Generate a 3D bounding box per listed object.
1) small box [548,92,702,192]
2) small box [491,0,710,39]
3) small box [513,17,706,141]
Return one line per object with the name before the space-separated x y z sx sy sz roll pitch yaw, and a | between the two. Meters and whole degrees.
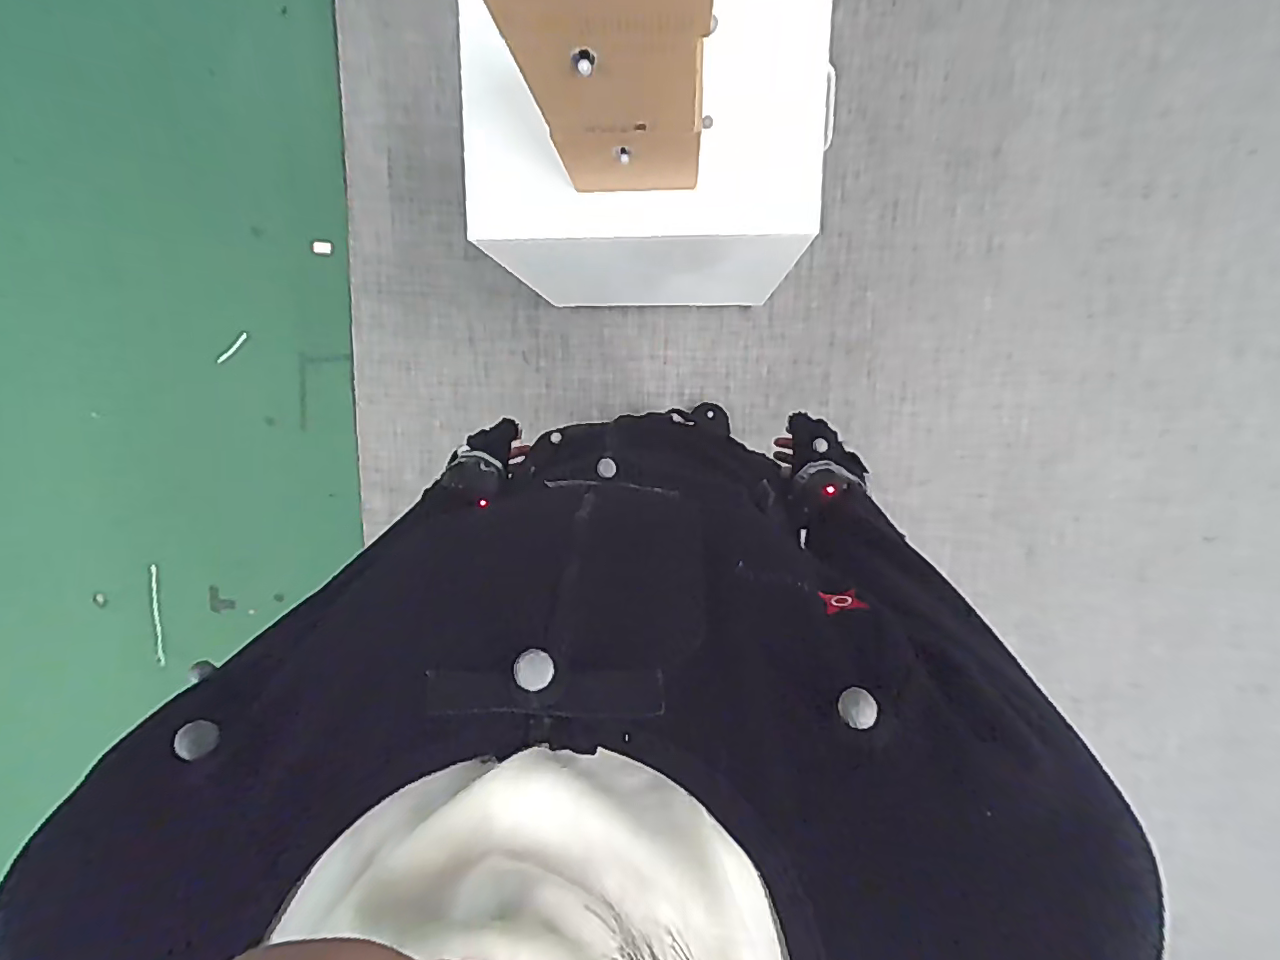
small box | -0.012 -0.482 0.684 0.179 0.176 0.168 1 98 4
small box | -0.034 -0.436 0.361 0.179 0.176 0.168 3 99 4
small box | -0.023 -0.464 0.525 0.168 0.176 0.179 -1 98 4
